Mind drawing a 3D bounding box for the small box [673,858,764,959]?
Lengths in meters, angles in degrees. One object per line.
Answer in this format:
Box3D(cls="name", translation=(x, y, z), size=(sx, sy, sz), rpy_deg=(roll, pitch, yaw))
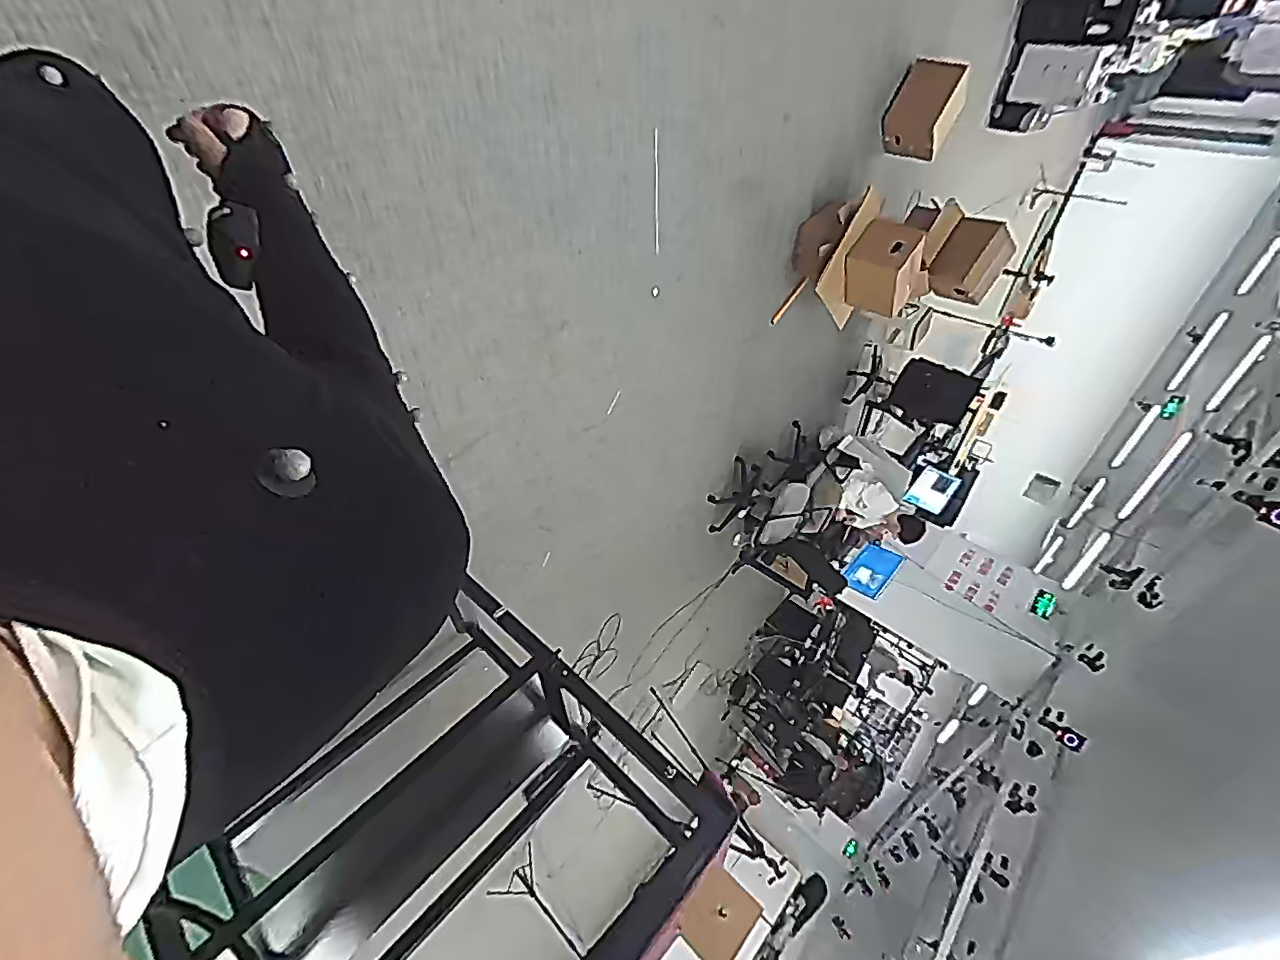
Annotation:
Box3D(cls="small box", translation=(0.200, 1.152, 1.422), size=(0.179, 0.176, 0.168), rpy_deg=(-37, 144, -31))
